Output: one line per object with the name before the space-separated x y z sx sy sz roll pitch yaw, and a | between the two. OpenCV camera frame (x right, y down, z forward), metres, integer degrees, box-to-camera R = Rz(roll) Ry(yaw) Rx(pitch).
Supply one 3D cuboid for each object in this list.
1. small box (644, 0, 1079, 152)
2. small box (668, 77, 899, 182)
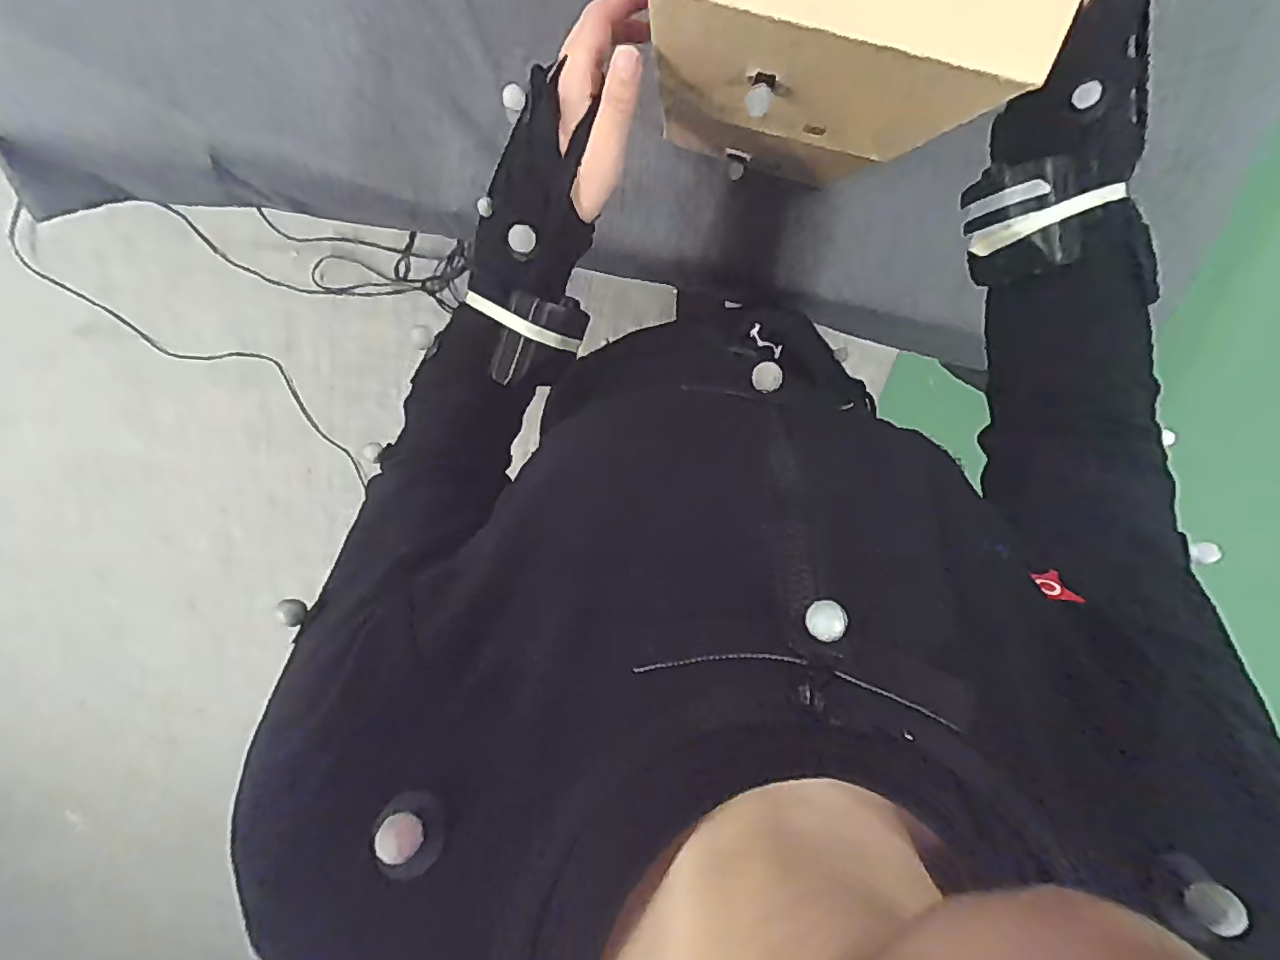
small box | 0.104 -0.280 0.253 0.168 0.176 0.179 13 110 -1
small box | 0.120 -0.345 0.401 0.168 0.176 0.179 14 113 -1
